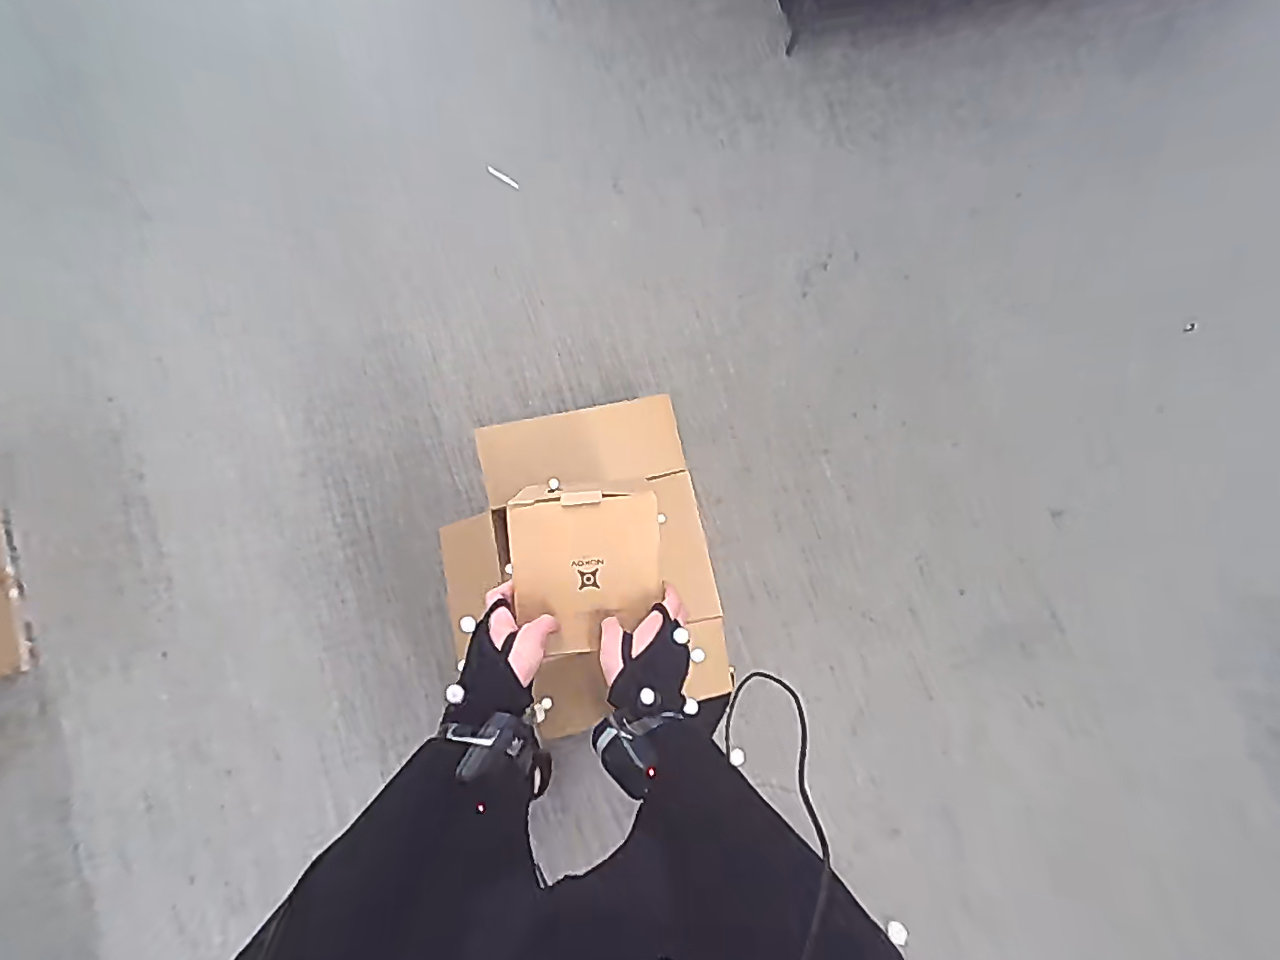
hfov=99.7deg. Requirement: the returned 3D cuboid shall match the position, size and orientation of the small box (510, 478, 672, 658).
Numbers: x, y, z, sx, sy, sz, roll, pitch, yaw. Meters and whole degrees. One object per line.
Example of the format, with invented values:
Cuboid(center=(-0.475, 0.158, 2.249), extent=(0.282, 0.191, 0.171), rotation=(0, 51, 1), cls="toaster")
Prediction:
Cuboid(center=(-0.058, 0.091, 0.655), extent=(0.168, 0.176, 0.179), rotation=(-5, 97, -3), cls="small box")
